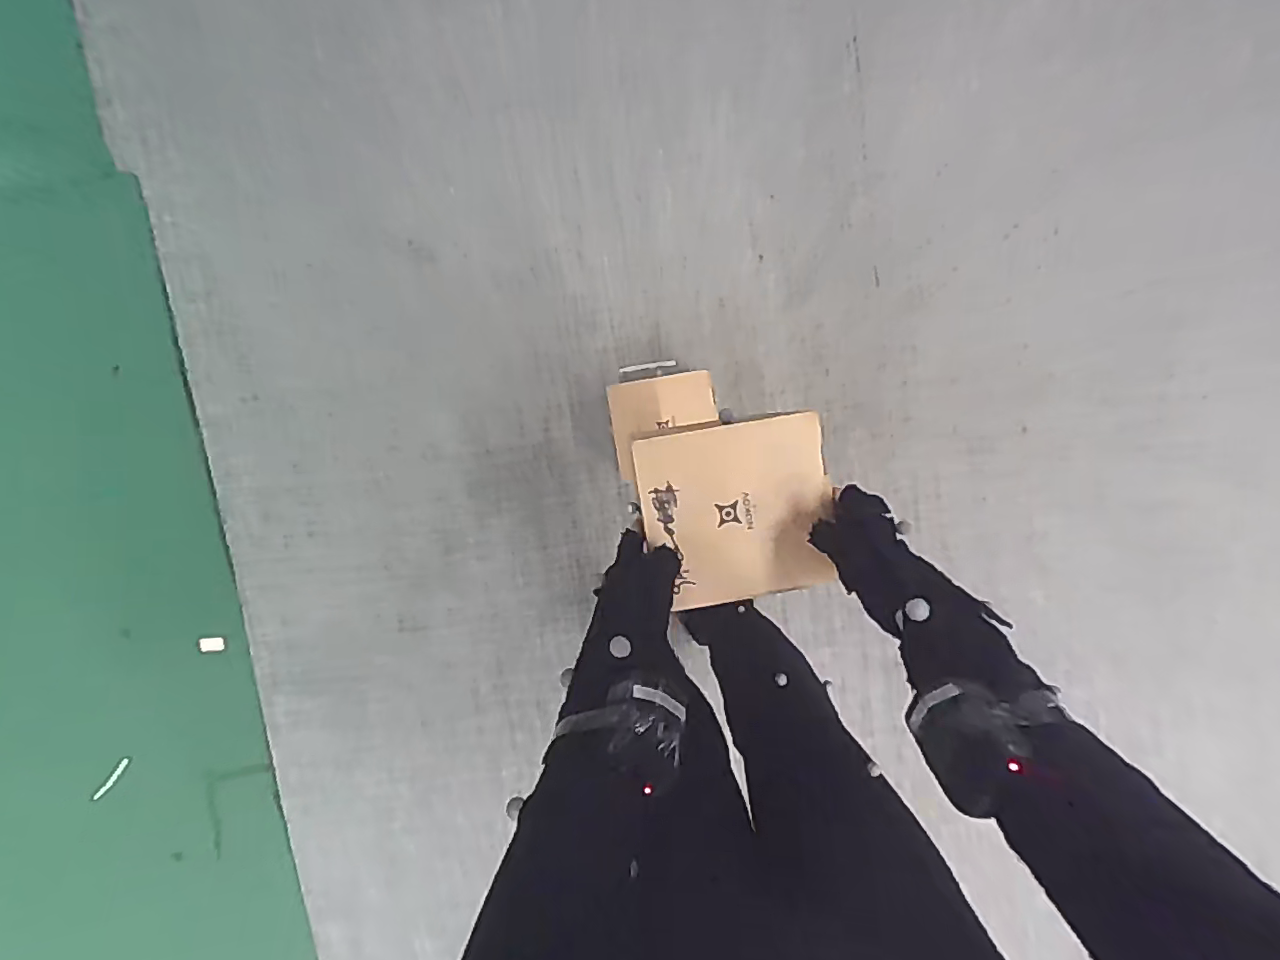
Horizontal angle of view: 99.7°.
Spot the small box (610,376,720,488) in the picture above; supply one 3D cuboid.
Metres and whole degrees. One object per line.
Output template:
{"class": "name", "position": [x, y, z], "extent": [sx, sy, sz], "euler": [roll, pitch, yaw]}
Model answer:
{"class": "small box", "position": [0.050, -0.088, 0.974], "extent": [0.179, 0.176, 0.168], "euler": [-10, 95, 4]}

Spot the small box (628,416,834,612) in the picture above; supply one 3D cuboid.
{"class": "small box", "position": [0.086, 0.023, 0.587], "extent": [0.179, 0.176, 0.168], "euler": [-10, 97, -1]}
